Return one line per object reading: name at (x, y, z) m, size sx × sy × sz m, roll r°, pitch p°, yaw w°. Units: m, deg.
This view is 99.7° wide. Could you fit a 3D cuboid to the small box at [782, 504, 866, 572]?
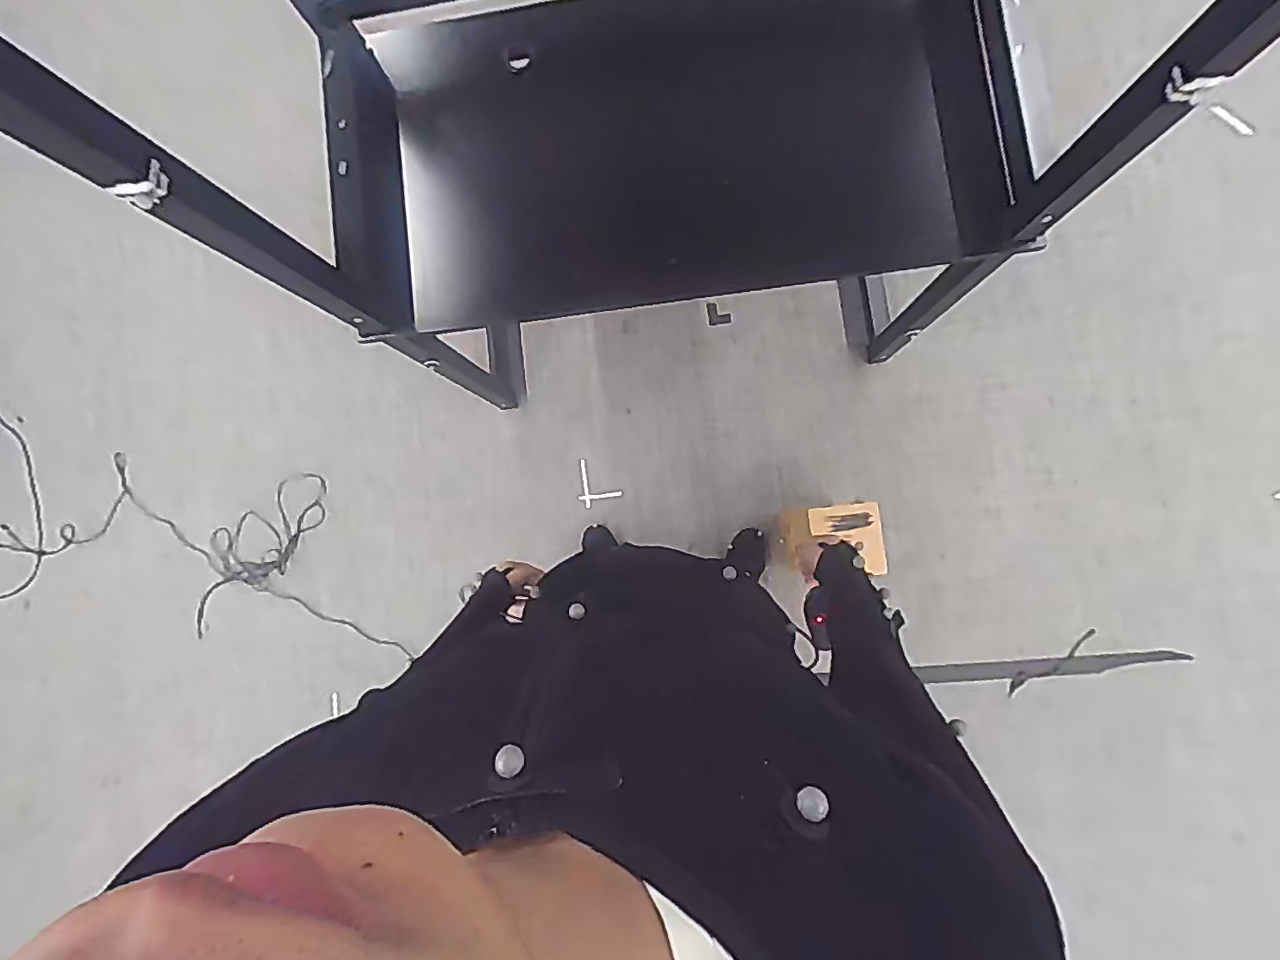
small box at (0.507, 0.157, 1.514) m, size 0.179 × 0.176 × 0.168 m, roll -8°, pitch 85°, yaw 6°
